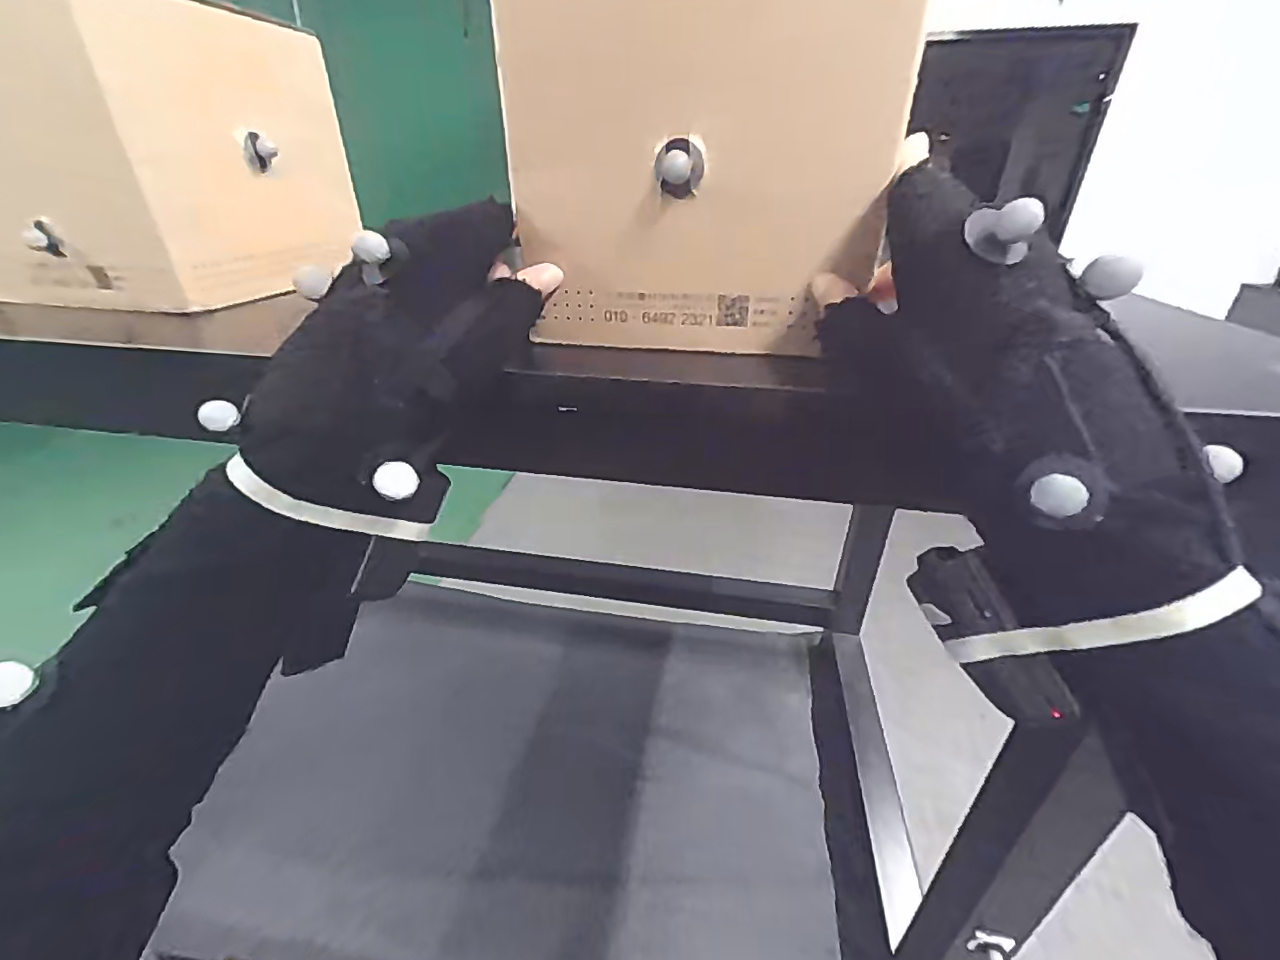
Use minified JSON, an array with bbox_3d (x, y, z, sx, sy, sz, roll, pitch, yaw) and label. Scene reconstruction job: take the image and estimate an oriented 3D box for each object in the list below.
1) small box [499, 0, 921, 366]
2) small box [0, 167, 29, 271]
[{"bbox_3d":[0.041,-0.170,0.304,0.168,0.176,0.179,6,30,9],"label":"small box"},{"bbox_3d":[-0.696,-0.258,0.455,0.168,0.176,0.179,5,31,8],"label":"small box"}]
